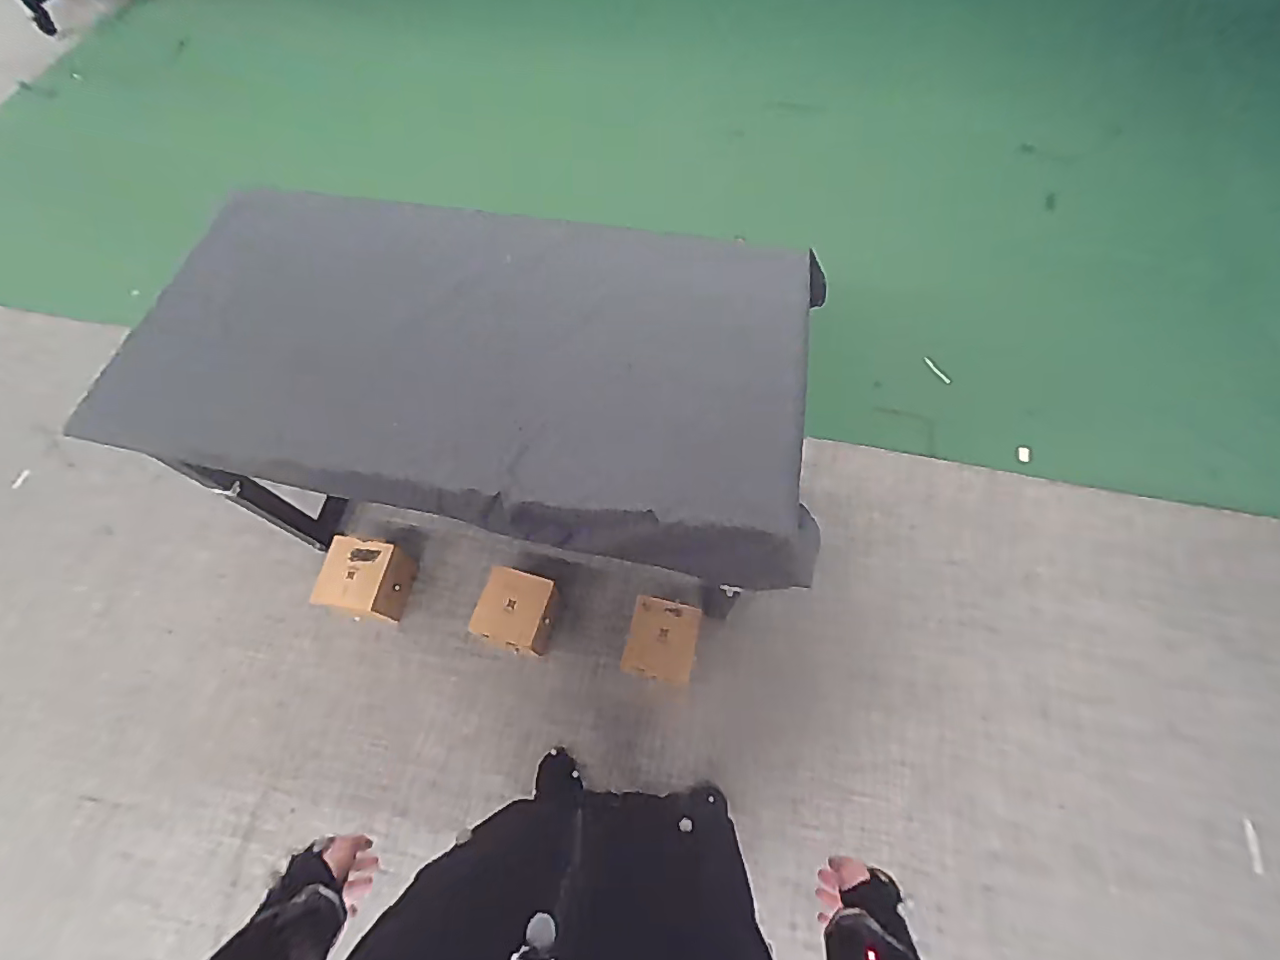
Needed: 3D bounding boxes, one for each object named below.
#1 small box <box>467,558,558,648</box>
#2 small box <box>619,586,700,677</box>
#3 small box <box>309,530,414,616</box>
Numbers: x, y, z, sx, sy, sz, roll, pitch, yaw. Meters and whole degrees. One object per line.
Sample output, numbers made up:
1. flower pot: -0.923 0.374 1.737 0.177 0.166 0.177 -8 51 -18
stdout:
1. small box: -0.321 0.325 1.404 0.168 0.176 0.179 14 66 5
2. small box: 0.052 0.389 1.371 0.168 0.176 0.179 12 66 6
3. small box: -0.727 0.252 1.438 0.168 0.176 0.179 8 67 5
